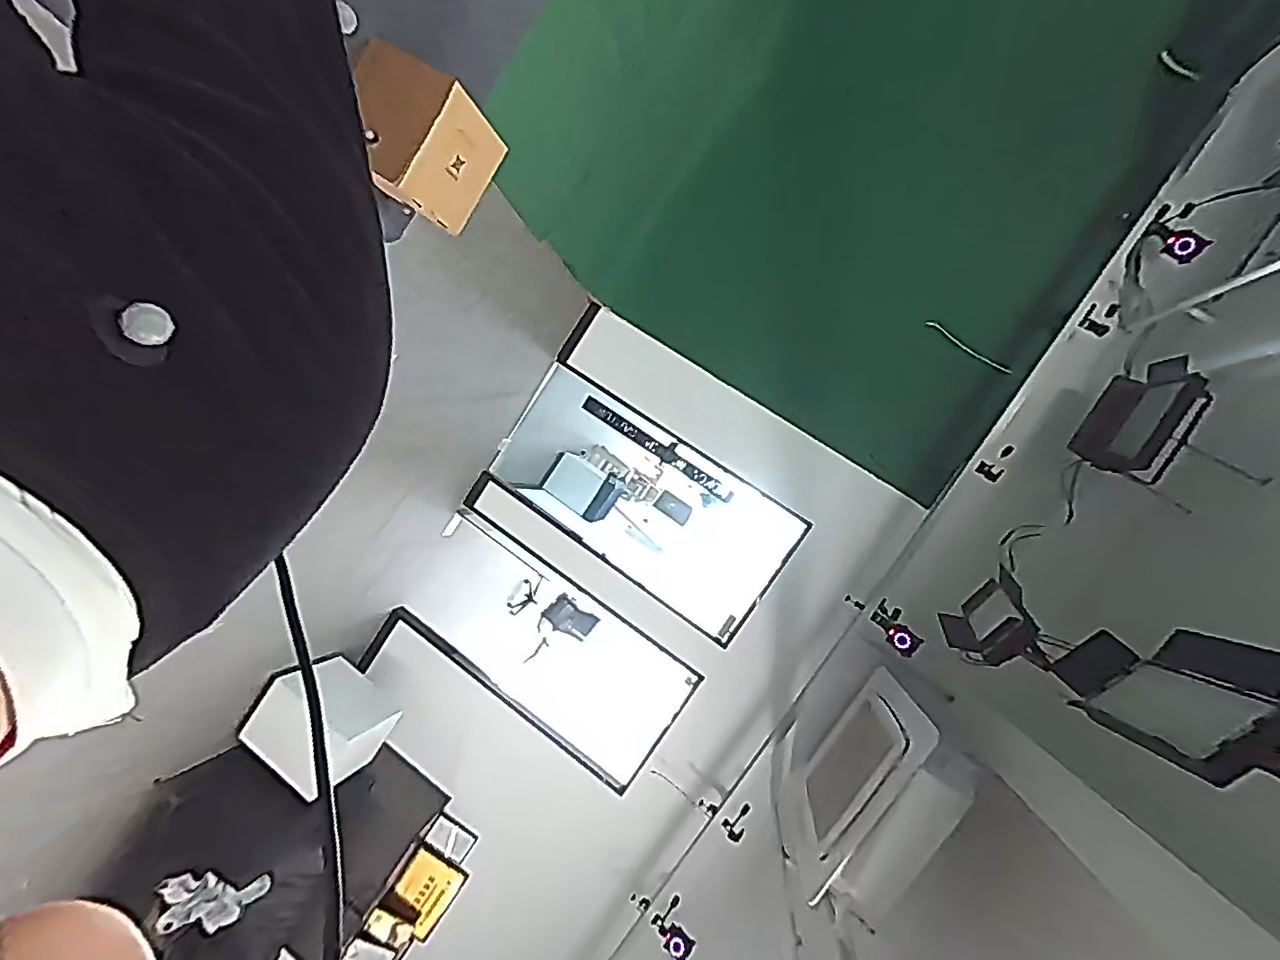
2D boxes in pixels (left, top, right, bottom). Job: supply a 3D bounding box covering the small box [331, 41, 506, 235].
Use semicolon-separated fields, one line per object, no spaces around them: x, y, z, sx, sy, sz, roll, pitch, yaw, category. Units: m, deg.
-0.359;-0.547;0.879;0.179;0.176;0.168;-58;170;6;small box
